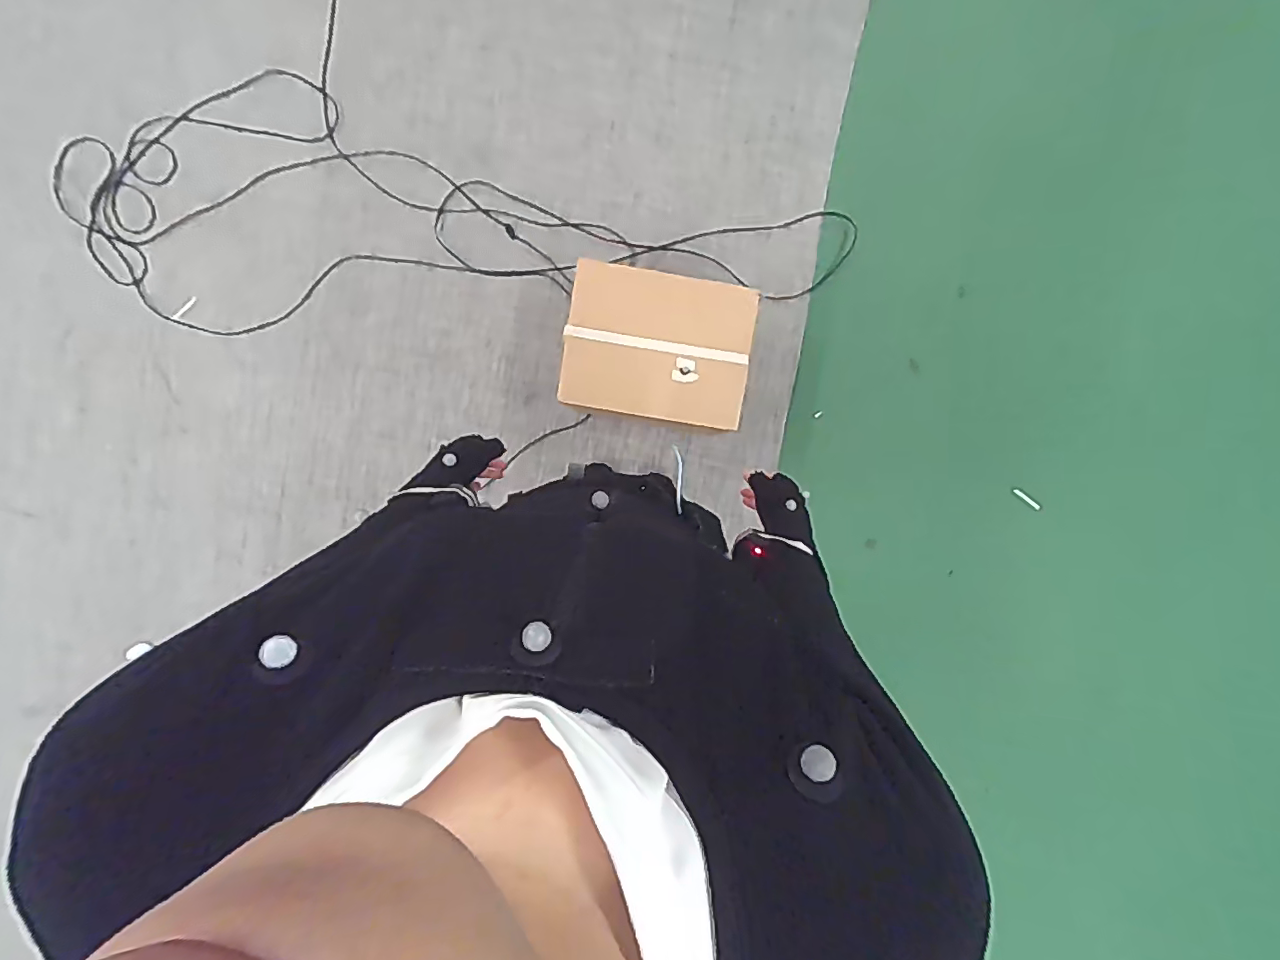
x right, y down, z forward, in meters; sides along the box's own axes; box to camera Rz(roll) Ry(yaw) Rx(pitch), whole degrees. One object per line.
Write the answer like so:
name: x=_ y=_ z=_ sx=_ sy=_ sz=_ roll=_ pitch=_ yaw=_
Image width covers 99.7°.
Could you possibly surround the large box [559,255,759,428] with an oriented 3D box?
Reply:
large box: x=0.035 y=-0.312 z=1.318 sx=0.408 sy=0.320 sz=0.320 roll=9 pitch=94 yaw=-3
